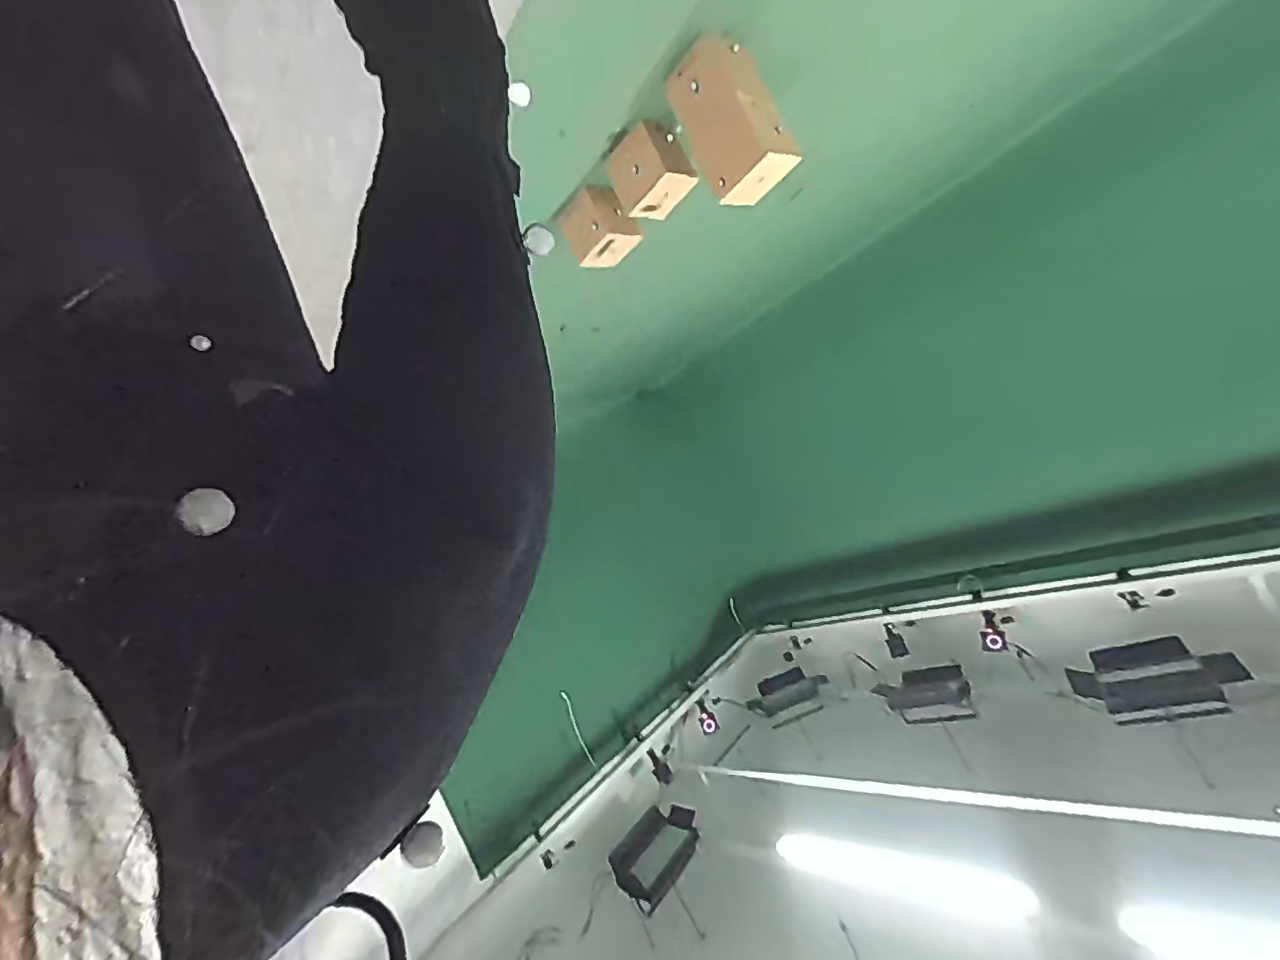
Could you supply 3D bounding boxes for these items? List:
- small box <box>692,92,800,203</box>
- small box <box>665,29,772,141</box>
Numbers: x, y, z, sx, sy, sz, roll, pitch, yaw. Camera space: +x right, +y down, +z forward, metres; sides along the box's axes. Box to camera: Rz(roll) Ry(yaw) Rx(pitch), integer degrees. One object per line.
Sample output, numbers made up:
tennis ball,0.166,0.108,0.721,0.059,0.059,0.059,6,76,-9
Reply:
small box,0.261,-0.831,1.362,0.168,0.176,0.179,-25,179,-41
small box,0.193,-0.980,1.362,0.179,0.176,0.168,-24,178,-43
